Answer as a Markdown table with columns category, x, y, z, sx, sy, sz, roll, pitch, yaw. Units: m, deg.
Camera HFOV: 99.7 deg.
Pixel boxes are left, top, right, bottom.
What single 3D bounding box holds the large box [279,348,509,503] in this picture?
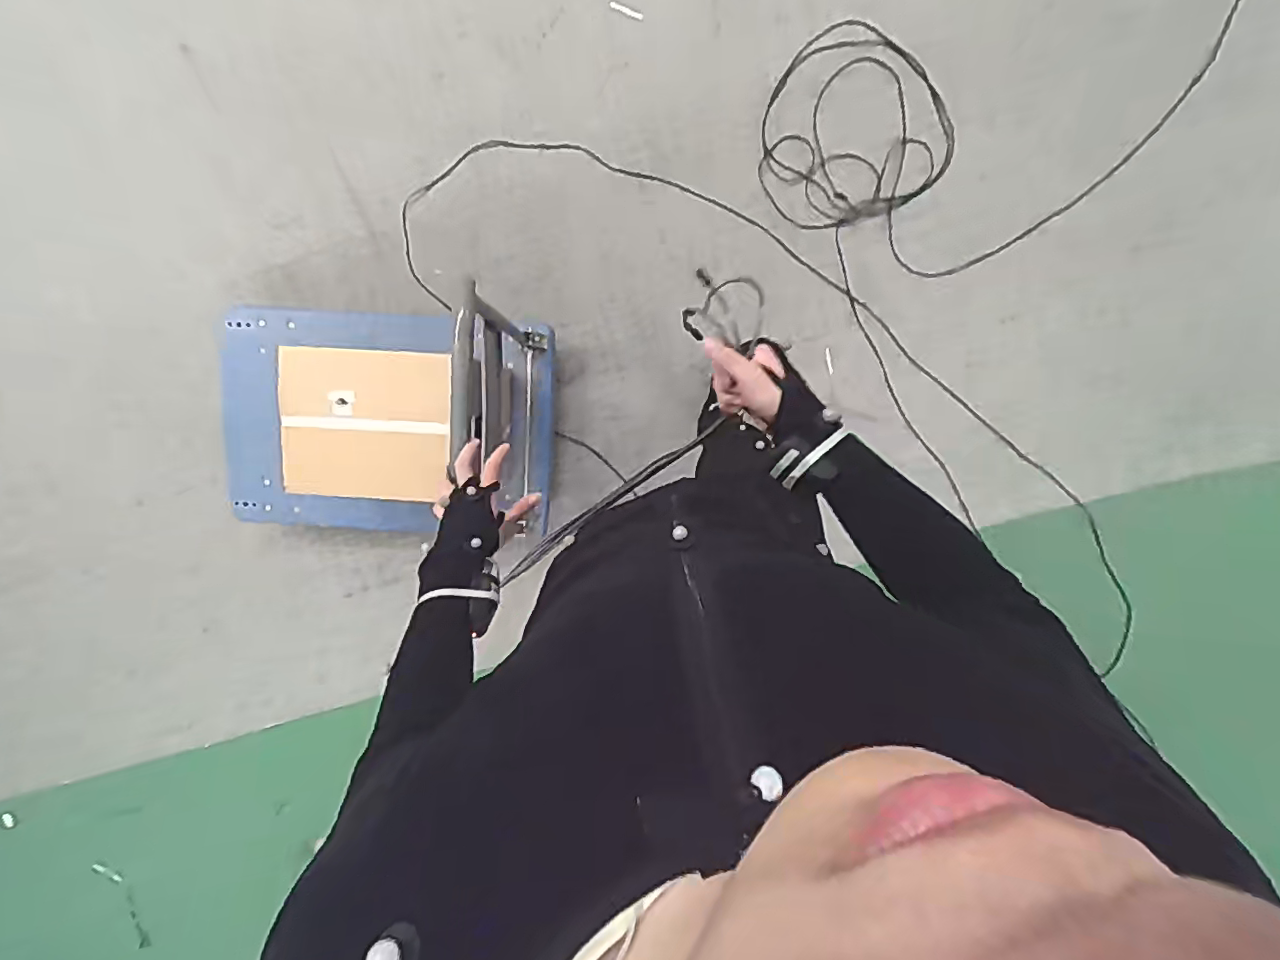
| category | x | y | z | sx | sy | sz | roll | pitch | yaw |
| --- | --- | --- | --- | --- | --- | --- | --- | --- | --- |
| large box | -0.547 | -0.134 | 1.276 | 0.408 | 0.320 | 0.320 | 4 | 97 | 2 |
